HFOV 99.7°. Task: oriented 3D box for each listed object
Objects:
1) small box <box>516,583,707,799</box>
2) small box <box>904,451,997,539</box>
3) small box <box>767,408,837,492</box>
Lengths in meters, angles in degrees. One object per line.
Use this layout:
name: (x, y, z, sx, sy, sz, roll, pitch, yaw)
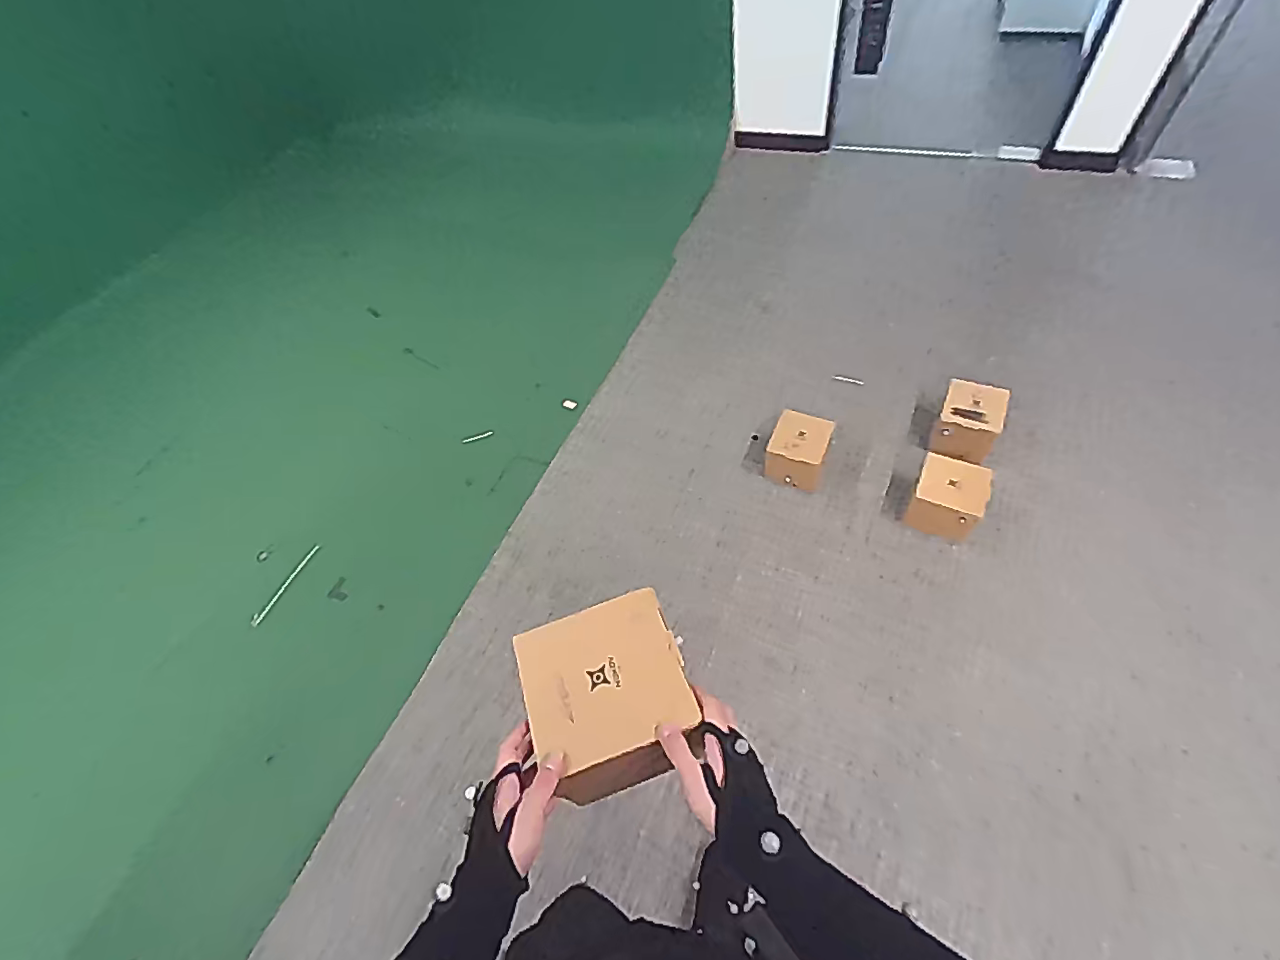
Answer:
small box: (-0.028, 0.253, 0.640, 0.179, 0.176, 0.168, -19, 51, -4)
small box: (0.886, 0.049, 1.557, 0.179, 0.176, 0.168, 20, 64, 21)
small box: (0.507, -0.093, 1.716, 0.168, 0.176, 0.179, 19, 64, 22)
